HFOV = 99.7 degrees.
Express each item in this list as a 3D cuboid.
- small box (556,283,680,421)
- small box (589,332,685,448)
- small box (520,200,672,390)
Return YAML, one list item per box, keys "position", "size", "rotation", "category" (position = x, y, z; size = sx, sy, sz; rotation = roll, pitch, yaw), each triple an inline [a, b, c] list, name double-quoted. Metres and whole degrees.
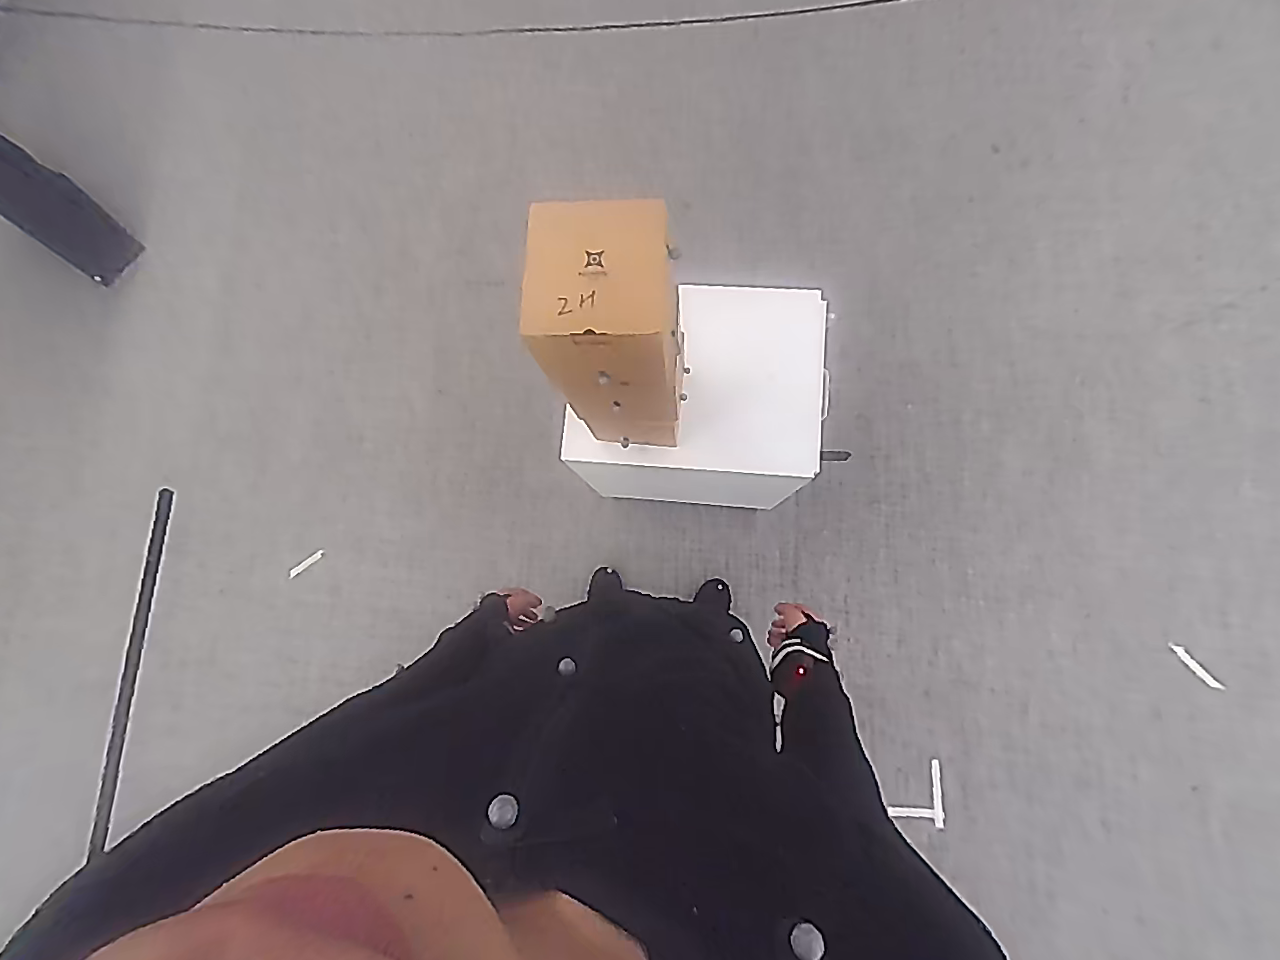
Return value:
- position: [-0.025, -0.197, 0.862]
  size: [0.179, 0.176, 0.168]
  rotation: [1, 79, 6]
  category: "small box"
- position: [-0.006, -0.169, 1.023]
  size: [0.168, 0.176, 0.179]
  rotation: [5, 81, 6]
  category: "small box"
- position: [-0.045, -0.231, 0.702]
  size: [0.168, 0.176, 0.179]
  rotation: [1, 80, 6]
  category: "small box"
